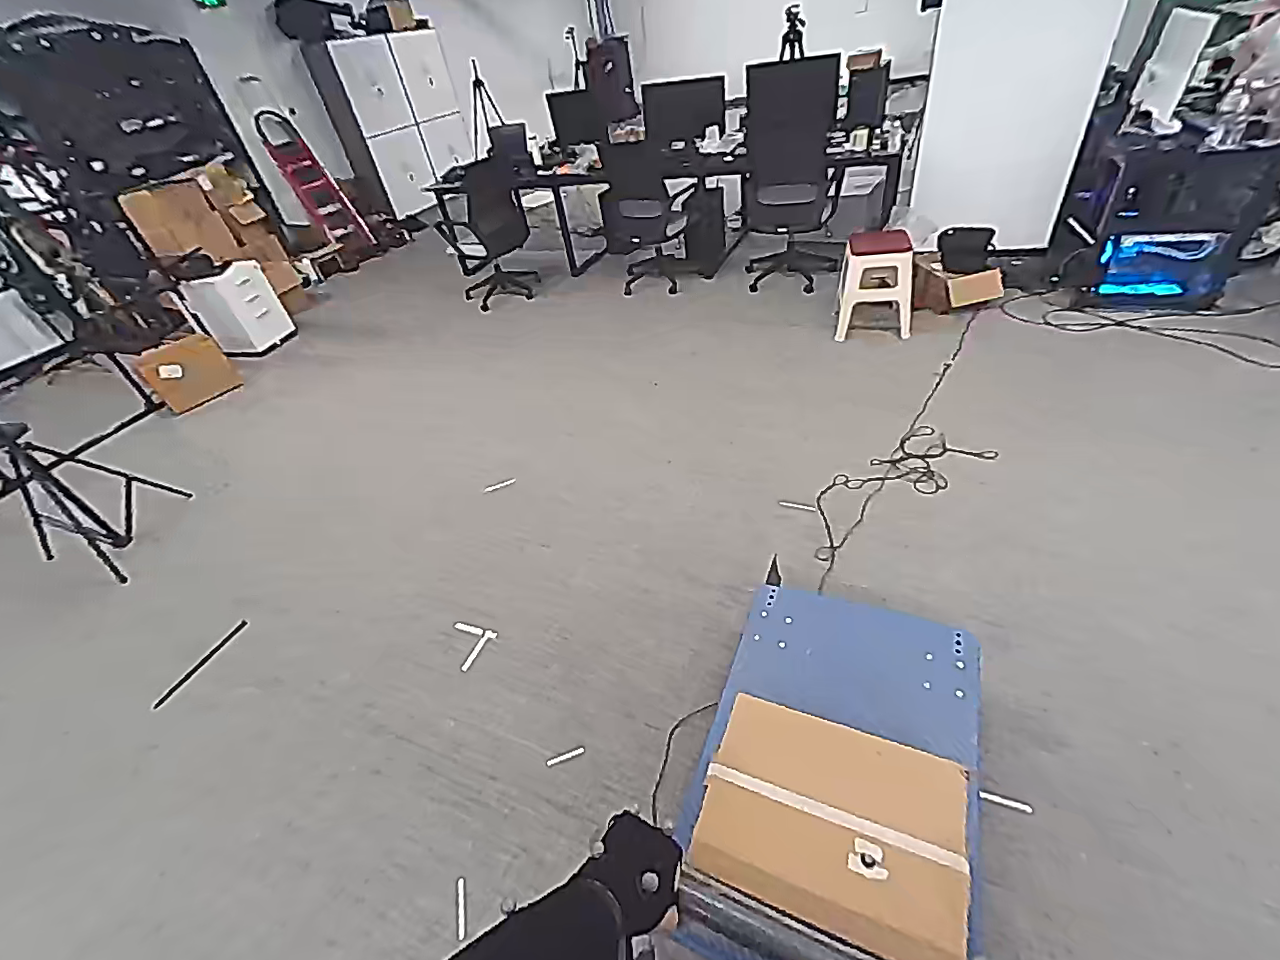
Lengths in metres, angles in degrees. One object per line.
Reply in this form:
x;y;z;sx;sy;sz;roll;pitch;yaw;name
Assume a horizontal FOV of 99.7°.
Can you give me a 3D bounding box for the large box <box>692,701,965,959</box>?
0.341;0.679;1.007;0.408;0.320;0.320;10;46;23;large box
